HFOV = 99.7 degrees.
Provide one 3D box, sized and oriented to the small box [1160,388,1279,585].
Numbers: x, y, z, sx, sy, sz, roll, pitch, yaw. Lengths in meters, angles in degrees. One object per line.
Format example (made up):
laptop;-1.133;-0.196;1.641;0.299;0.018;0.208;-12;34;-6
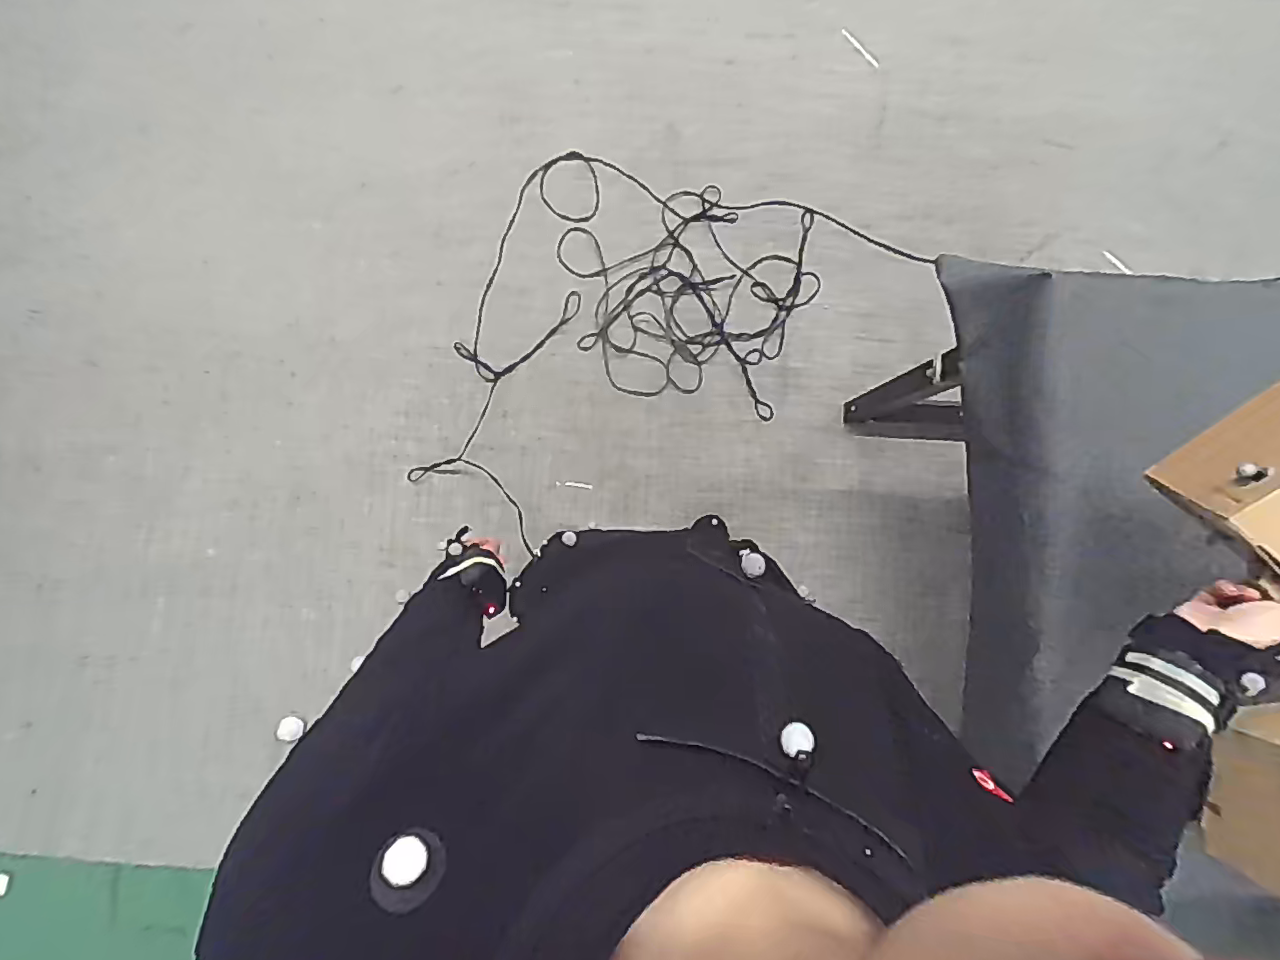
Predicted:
small box;0.609;0.011;0.448;0.168;0.176;0.179;45;118;8
